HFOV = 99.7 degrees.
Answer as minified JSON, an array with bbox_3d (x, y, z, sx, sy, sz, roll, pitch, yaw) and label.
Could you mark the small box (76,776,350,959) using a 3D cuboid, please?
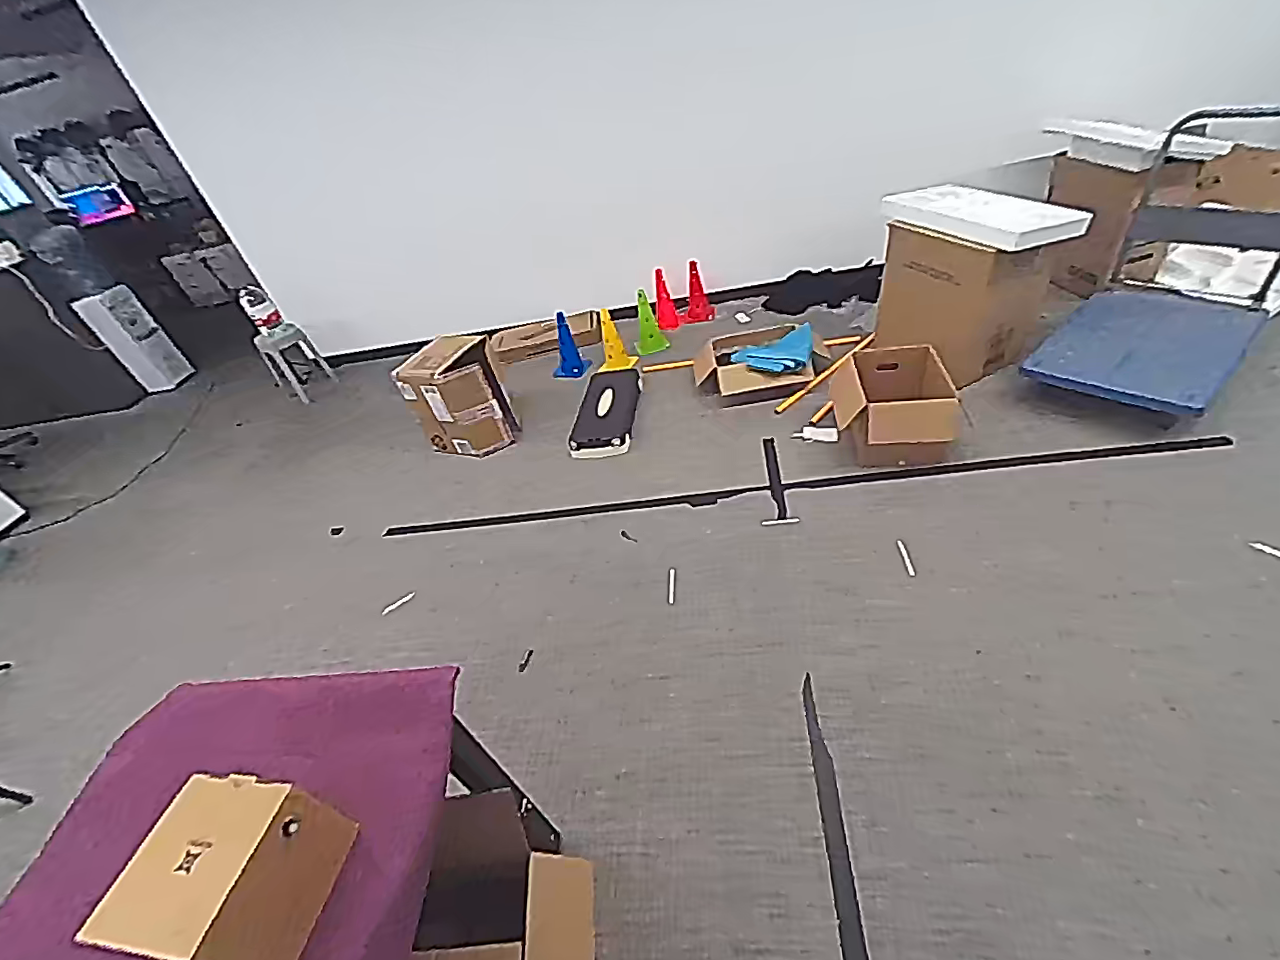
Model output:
[{"bbox_3d":[-0.511,0.505,0.682,0.168,0.176,0.179,-3,40,14],"label":"small box"}]
